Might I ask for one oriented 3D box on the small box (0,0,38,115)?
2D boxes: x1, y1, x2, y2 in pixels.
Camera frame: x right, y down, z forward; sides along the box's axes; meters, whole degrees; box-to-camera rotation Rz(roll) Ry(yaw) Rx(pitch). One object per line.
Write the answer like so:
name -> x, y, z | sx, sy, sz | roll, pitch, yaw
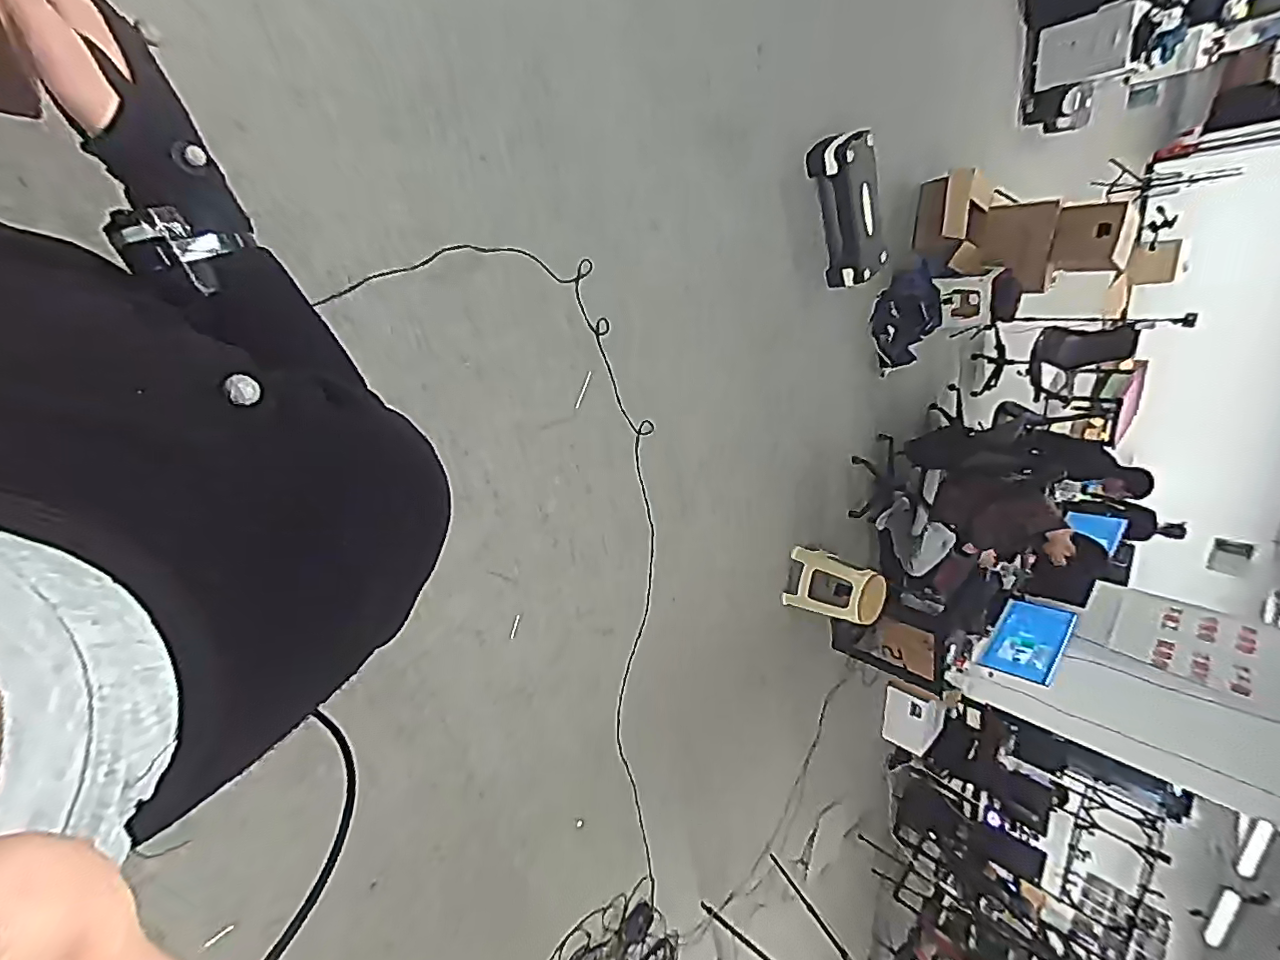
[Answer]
small box -> -0.449, -0.331, 0.270 | 0.168, 0.176, 0.179 | -10, 91, -39
